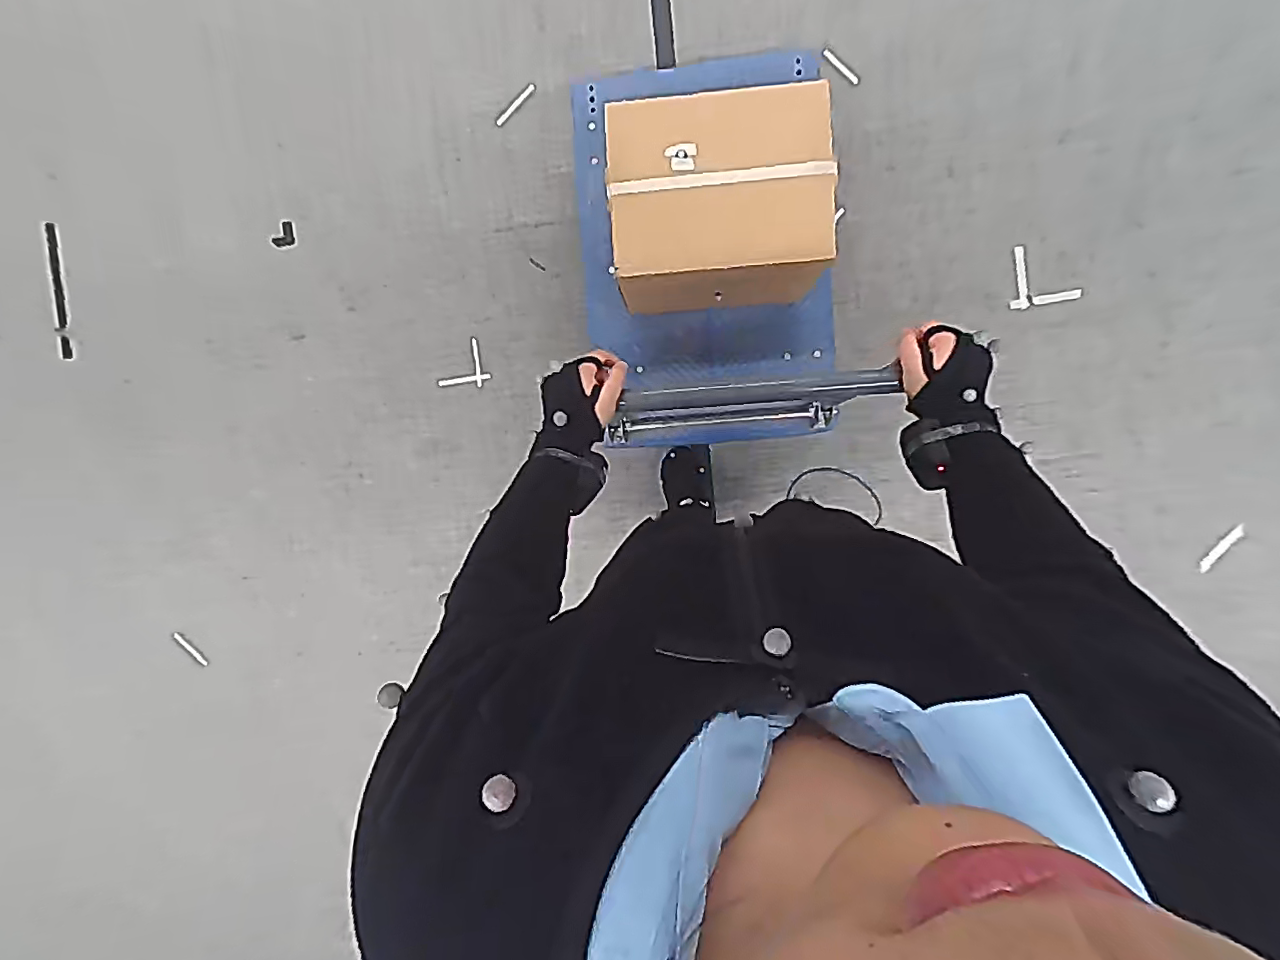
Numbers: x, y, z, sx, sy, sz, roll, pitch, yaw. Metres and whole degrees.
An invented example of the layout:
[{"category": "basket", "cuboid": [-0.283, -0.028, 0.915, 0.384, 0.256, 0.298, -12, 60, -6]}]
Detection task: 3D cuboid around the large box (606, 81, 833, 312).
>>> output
[{"category": "large box", "cuboid": [0.160, -0.560, 1.142, 0.408, 0.320, 0.320, -4, 93, 5]}]
